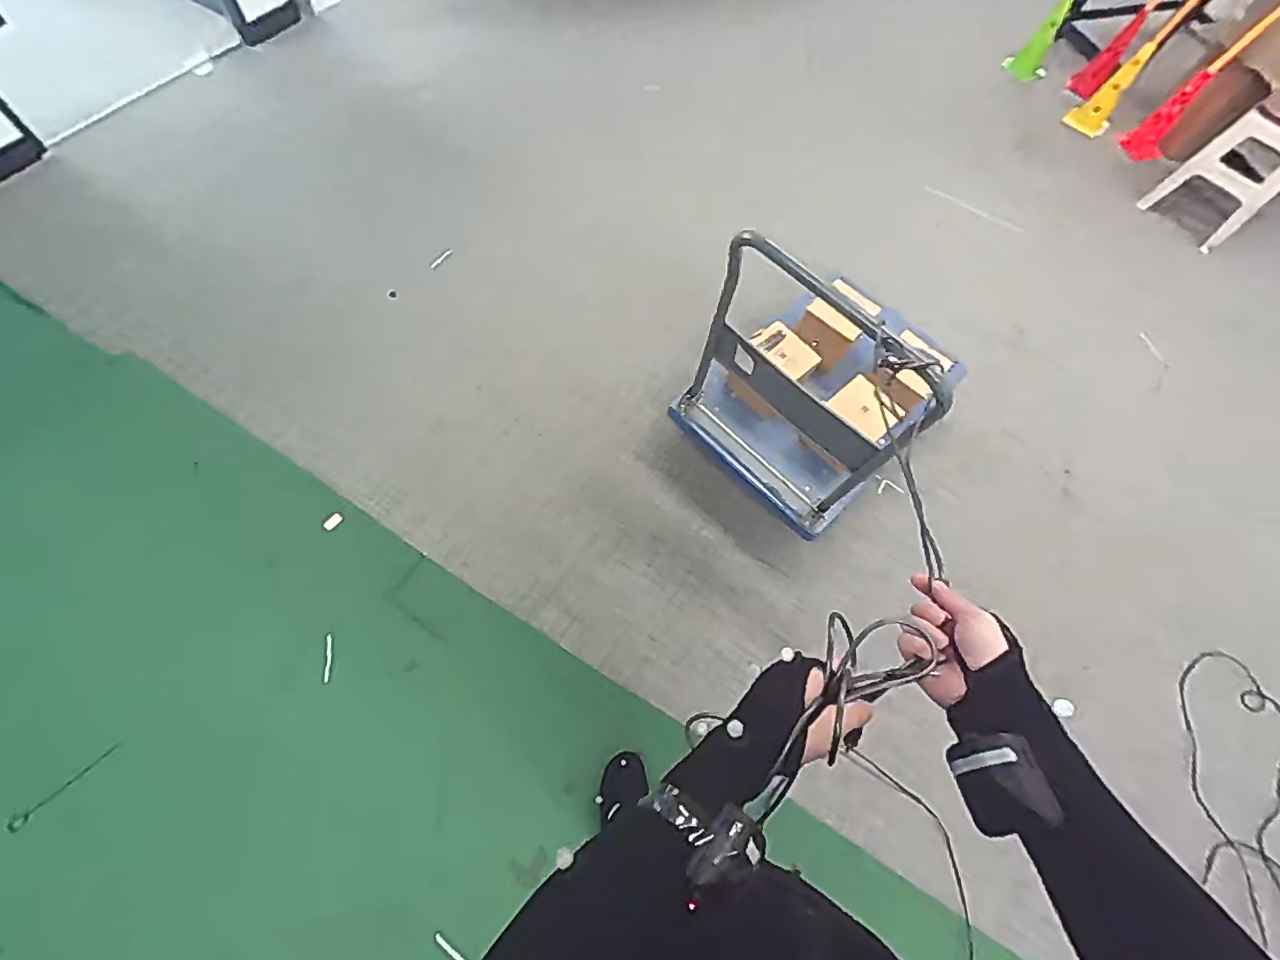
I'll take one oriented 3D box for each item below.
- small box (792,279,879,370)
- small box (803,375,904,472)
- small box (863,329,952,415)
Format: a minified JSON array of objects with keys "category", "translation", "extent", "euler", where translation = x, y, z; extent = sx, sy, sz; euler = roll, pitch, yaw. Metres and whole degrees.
[{"category":"small box","translation":[0.595,-0.476,1.676],"extent":[0.168,0.176,0.179],"euler":[41,68,12]},{"category":"small box","translation":[0.595,-0.157,1.531],"extent":[0.179,0.176,0.168],"euler":[-39,75,-20]},{"category":"small box","translation":[0.775,-0.306,1.615],"extent":[0.168,0.176,0.179],"euler":[42,69,14]}]
